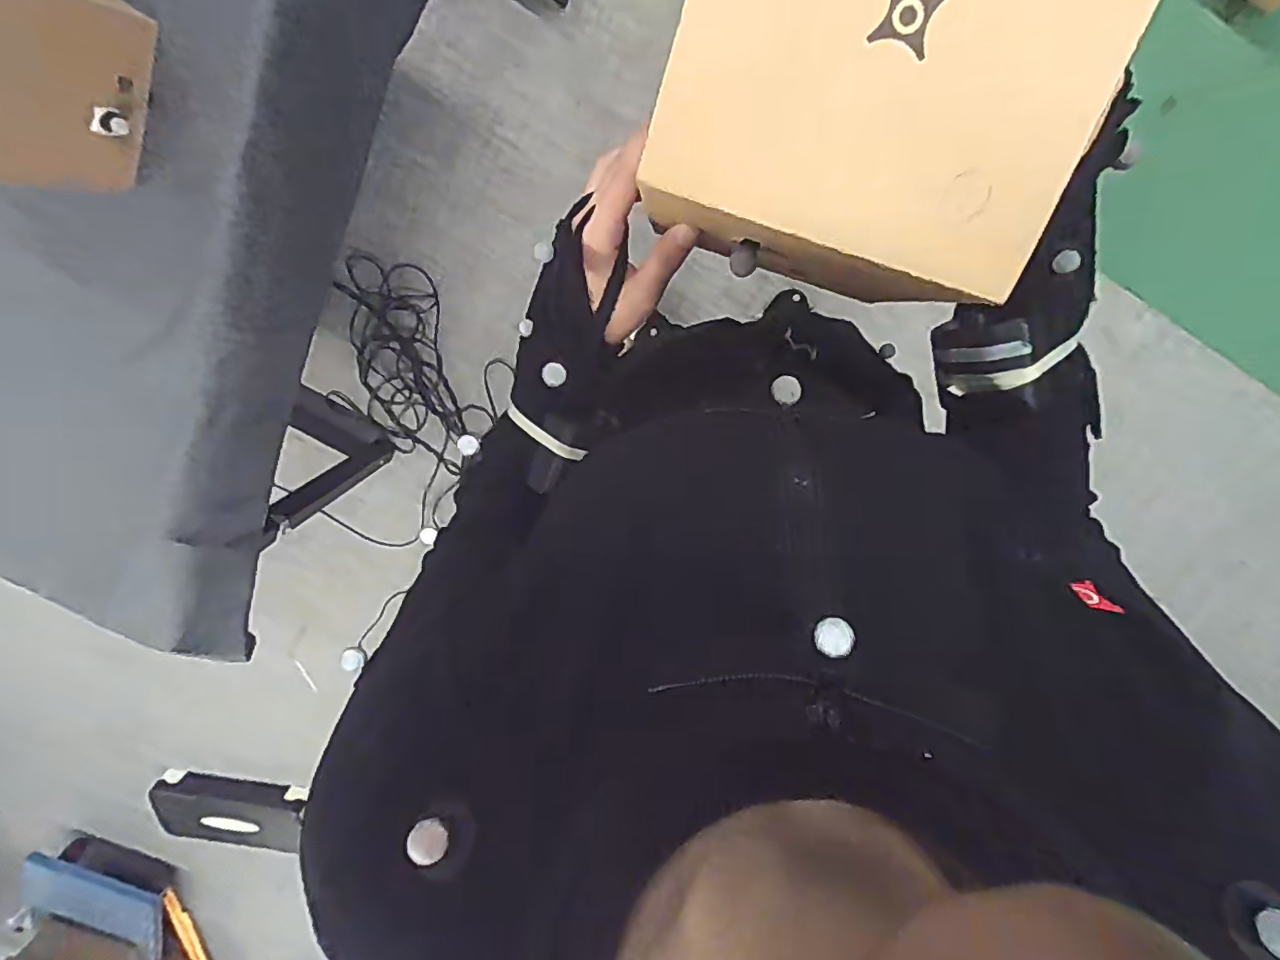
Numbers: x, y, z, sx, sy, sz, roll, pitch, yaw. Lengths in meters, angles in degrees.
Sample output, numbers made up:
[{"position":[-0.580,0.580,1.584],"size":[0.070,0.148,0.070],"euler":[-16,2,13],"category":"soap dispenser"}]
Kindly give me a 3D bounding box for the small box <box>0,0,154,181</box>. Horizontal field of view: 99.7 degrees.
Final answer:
[{"position":[-0.573,-0.374,0.451],"size":[0.179,0.176,0.168],"euler":[30,115,-7],"category":"small box"}]

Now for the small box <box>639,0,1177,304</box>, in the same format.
[{"position":[0.109,-0.198,0.269],"size":[0.168,0.176,0.179],"euler":[18,108,-1],"category":"small box"}]
